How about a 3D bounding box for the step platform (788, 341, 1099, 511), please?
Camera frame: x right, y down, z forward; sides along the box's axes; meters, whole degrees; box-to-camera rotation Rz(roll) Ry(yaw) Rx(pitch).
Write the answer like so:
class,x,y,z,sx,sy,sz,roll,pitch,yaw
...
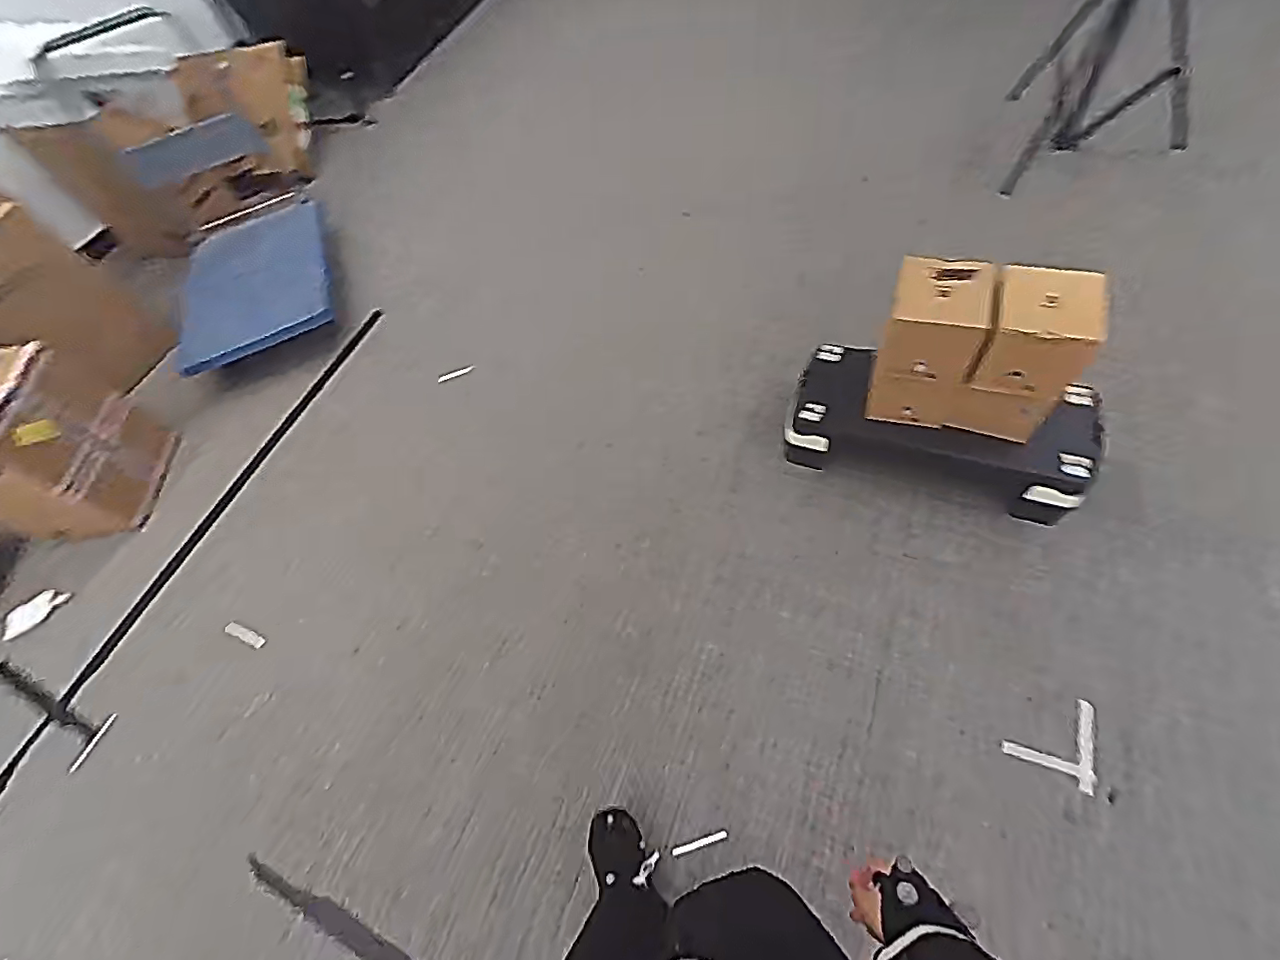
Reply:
class,x,y,z,sx,sy,sz,roll,pitch,yaw
step platform,0.746,-0.157,1.396,0.684,0.204,0.286,14,64,20
